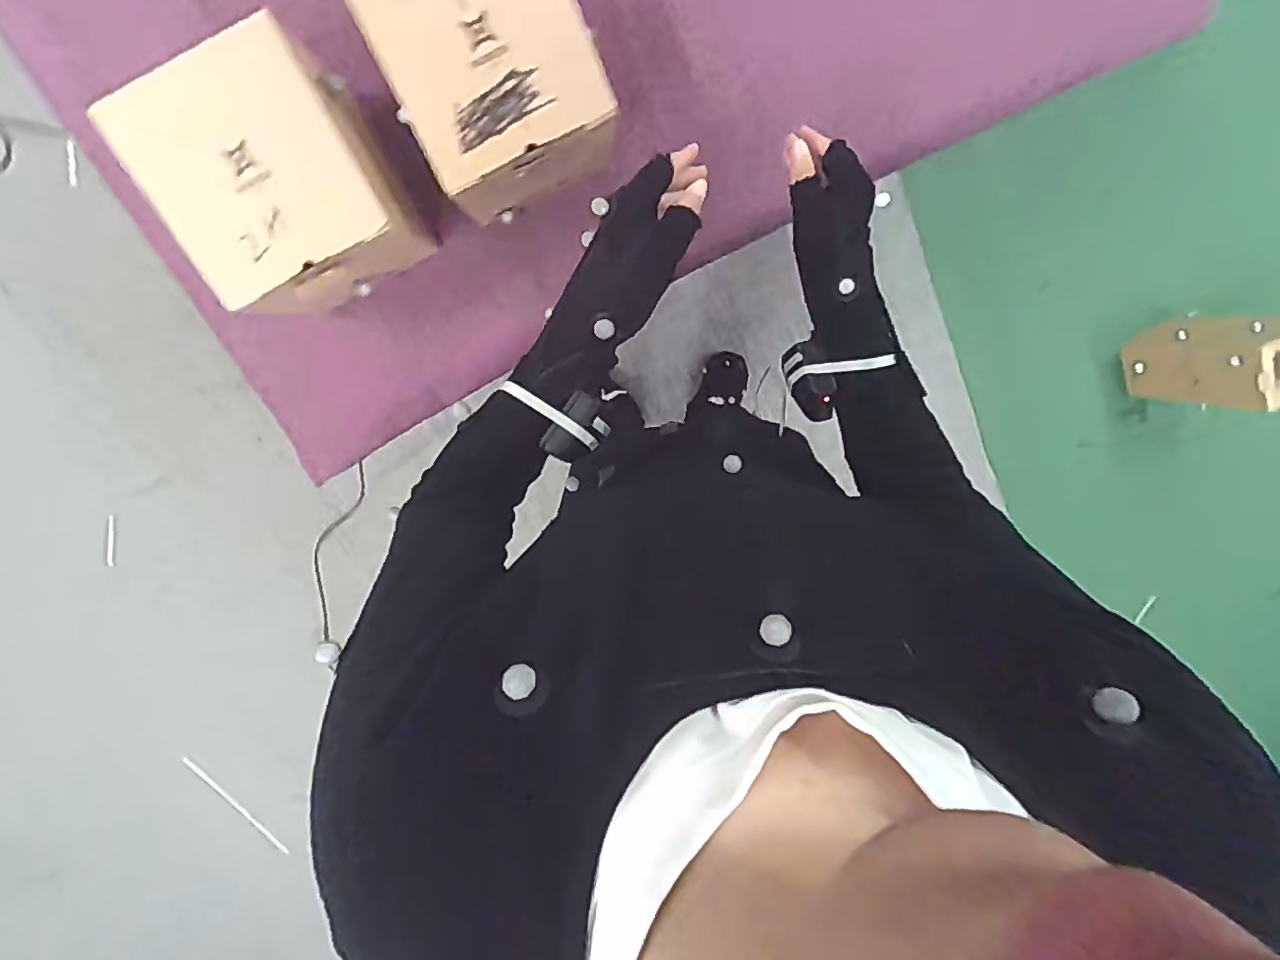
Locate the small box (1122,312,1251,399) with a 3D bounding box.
[{"bbox_3d":[1.468,-0.341,1.460,0.179,0.176,0.168,-27,107,3],"label":"small box"}]

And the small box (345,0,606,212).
[{"bbox_3d":[-0.142,-0.383,0.523,0.168,0.176,0.179,-26,106,2],"label":"small box"}]

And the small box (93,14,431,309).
[{"bbox_3d":[-0.339,-0.283,0.530,0.168,0.176,0.179,-27,107,3],"label":"small box"}]
